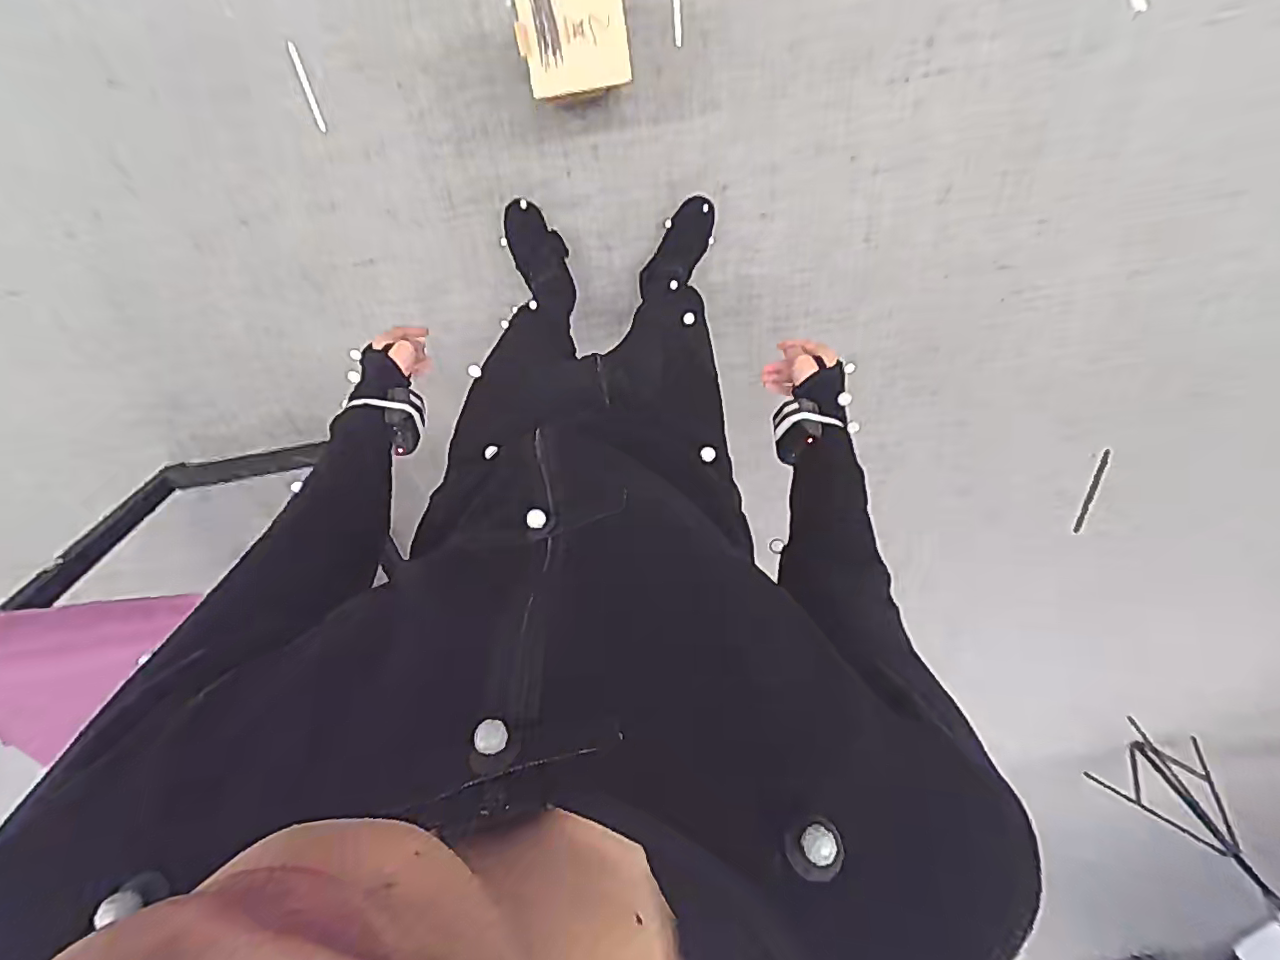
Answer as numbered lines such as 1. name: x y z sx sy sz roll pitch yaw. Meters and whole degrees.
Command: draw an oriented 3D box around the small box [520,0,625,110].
1. small box: -0.130 -0.869 1.090 0.168 0.176 0.179 -13 124 2
